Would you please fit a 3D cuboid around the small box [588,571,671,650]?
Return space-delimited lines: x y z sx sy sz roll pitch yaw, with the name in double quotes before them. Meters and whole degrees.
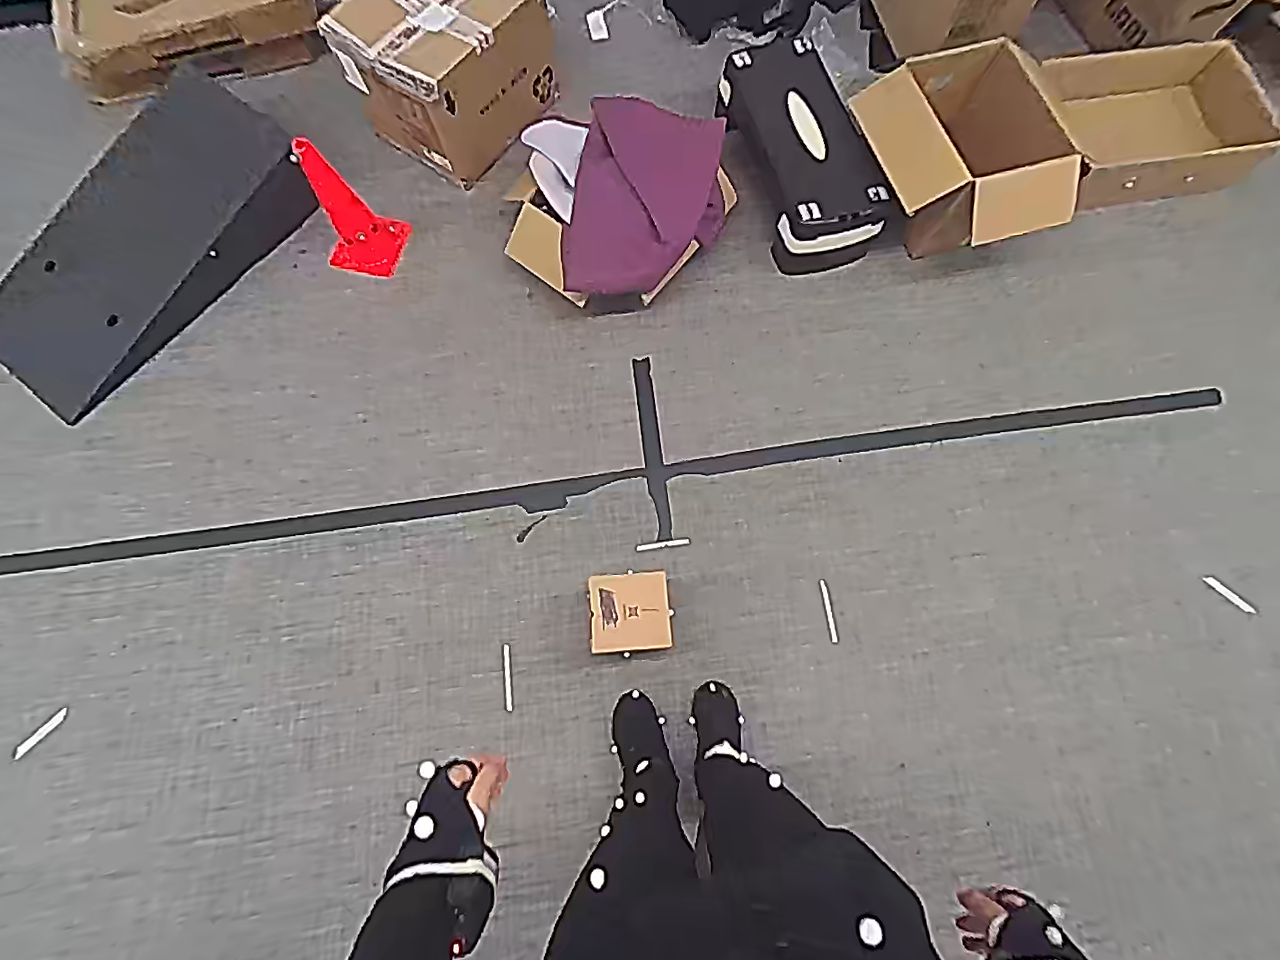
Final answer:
"small box" -0.024 0.306 1.258 0.179 0.176 0.168 -4 75 -2
